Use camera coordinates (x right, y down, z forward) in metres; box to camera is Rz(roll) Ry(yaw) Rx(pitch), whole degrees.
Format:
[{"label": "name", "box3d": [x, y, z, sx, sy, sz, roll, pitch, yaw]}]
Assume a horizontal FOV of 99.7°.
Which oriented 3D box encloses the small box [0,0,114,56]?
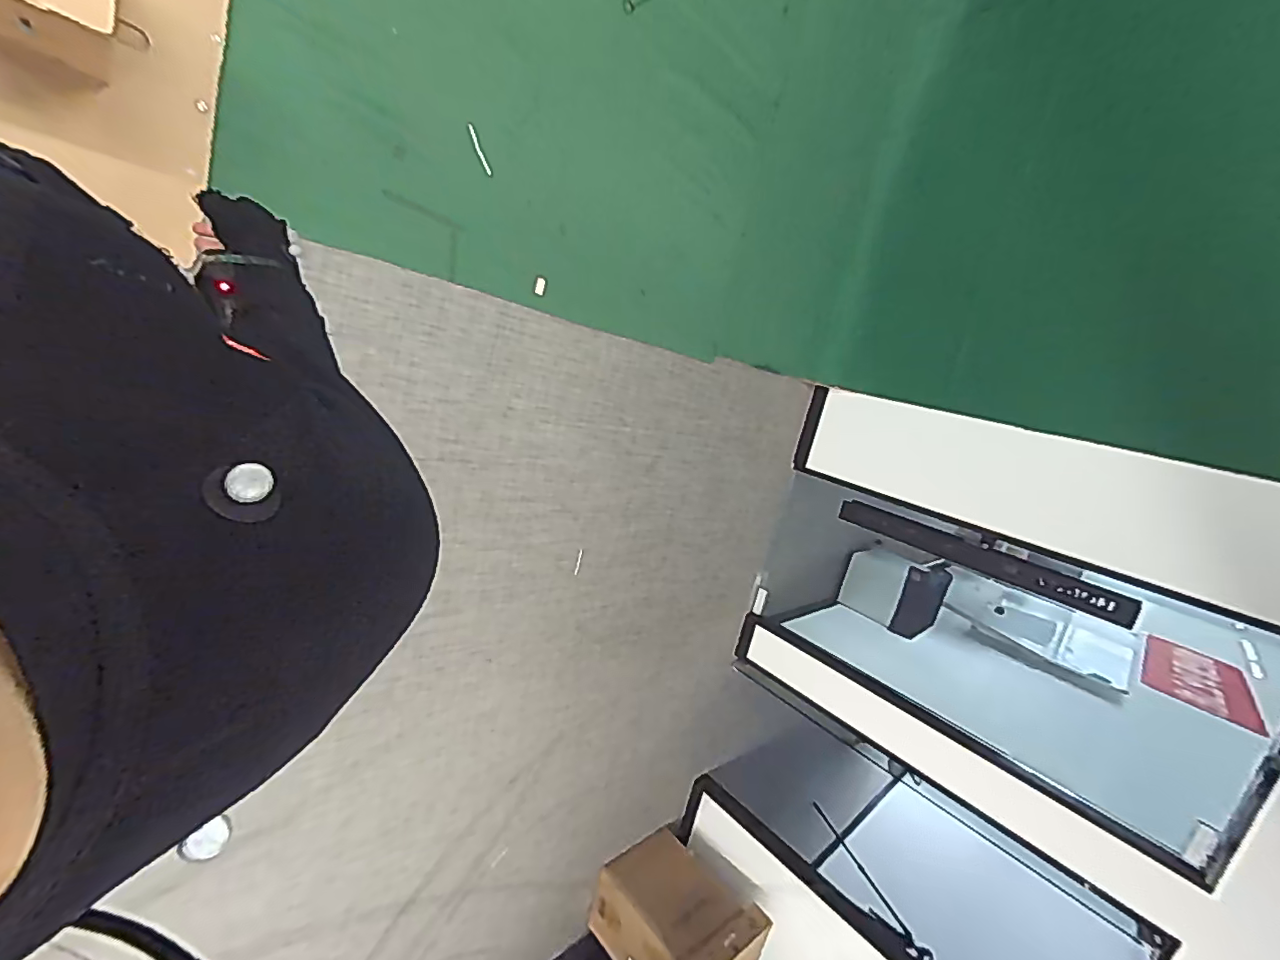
[{"label": "small box", "box3d": [-0.794, -0.702, 0.698, 0.168, 0.176, 0.179, 5, 104, -46]}]
